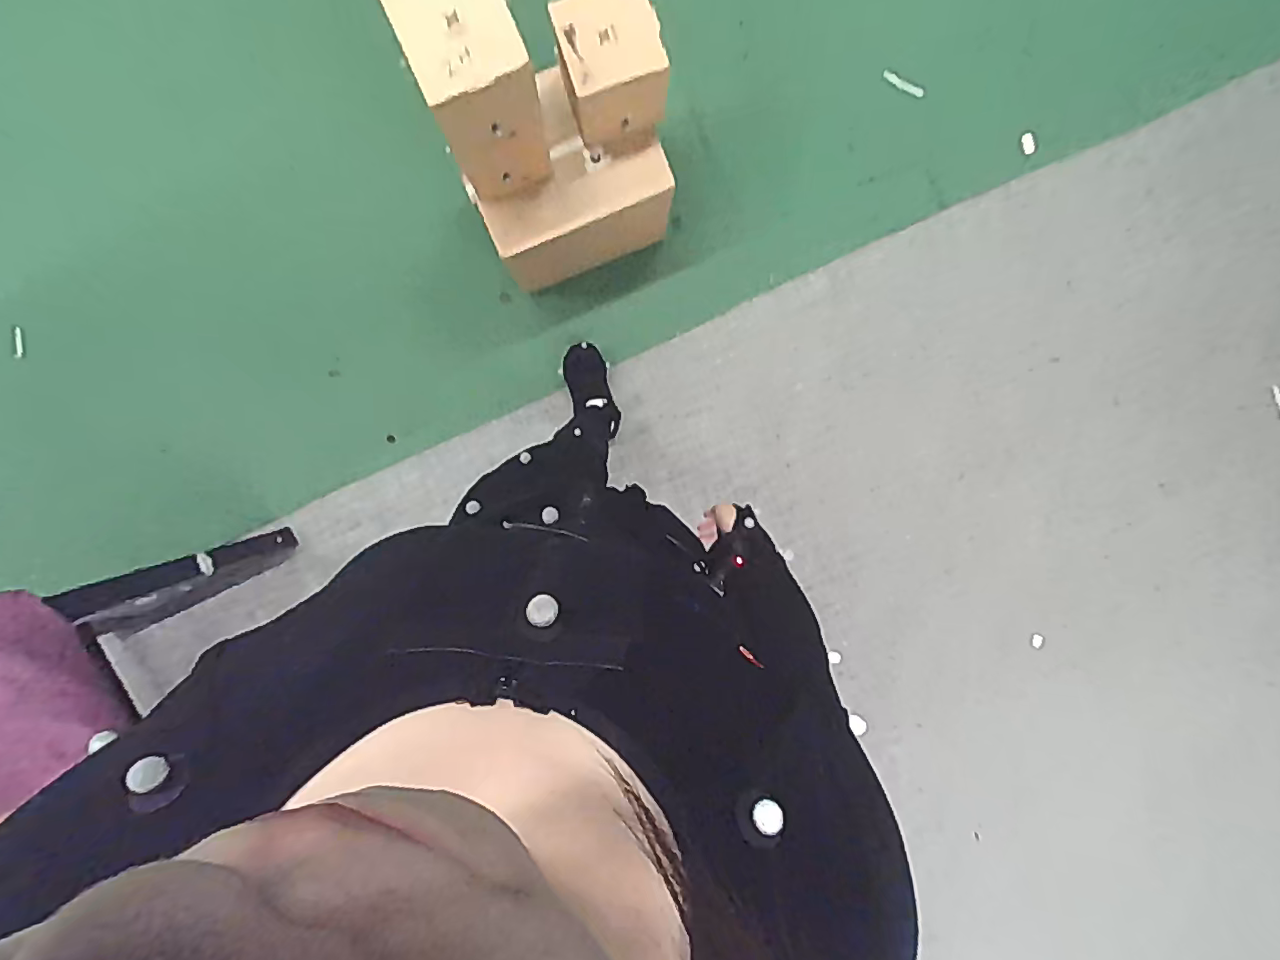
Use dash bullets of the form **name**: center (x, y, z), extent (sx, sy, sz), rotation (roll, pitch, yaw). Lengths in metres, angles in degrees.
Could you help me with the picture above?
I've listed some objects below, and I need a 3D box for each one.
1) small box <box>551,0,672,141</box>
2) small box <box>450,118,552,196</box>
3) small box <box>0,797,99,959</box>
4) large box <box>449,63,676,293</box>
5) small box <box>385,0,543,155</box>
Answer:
- **small box**: center (-0.052, -0.780, 1.011), extent (0.179, 0.176, 0.168), rotation (-18, 95, 0)
- **small box**: center (-0.279, -0.677, 1.015), extent (0.168, 0.176, 0.179), rotation (-23, 95, -1)
- **small box**: center (-0.867, 0.550, 0.680), extent (0.179, 0.176, 0.168), rotation (-24, 96, 0)
- **large box**: center (-0.171, -0.693, 1.261), extent (0.408, 0.320, 0.320), rotation (-23, 96, -1)
- **small box**: center (-0.269, -0.662, 0.851), extent (0.168, 0.176, 0.179), rotation (-24, 96, 0)
